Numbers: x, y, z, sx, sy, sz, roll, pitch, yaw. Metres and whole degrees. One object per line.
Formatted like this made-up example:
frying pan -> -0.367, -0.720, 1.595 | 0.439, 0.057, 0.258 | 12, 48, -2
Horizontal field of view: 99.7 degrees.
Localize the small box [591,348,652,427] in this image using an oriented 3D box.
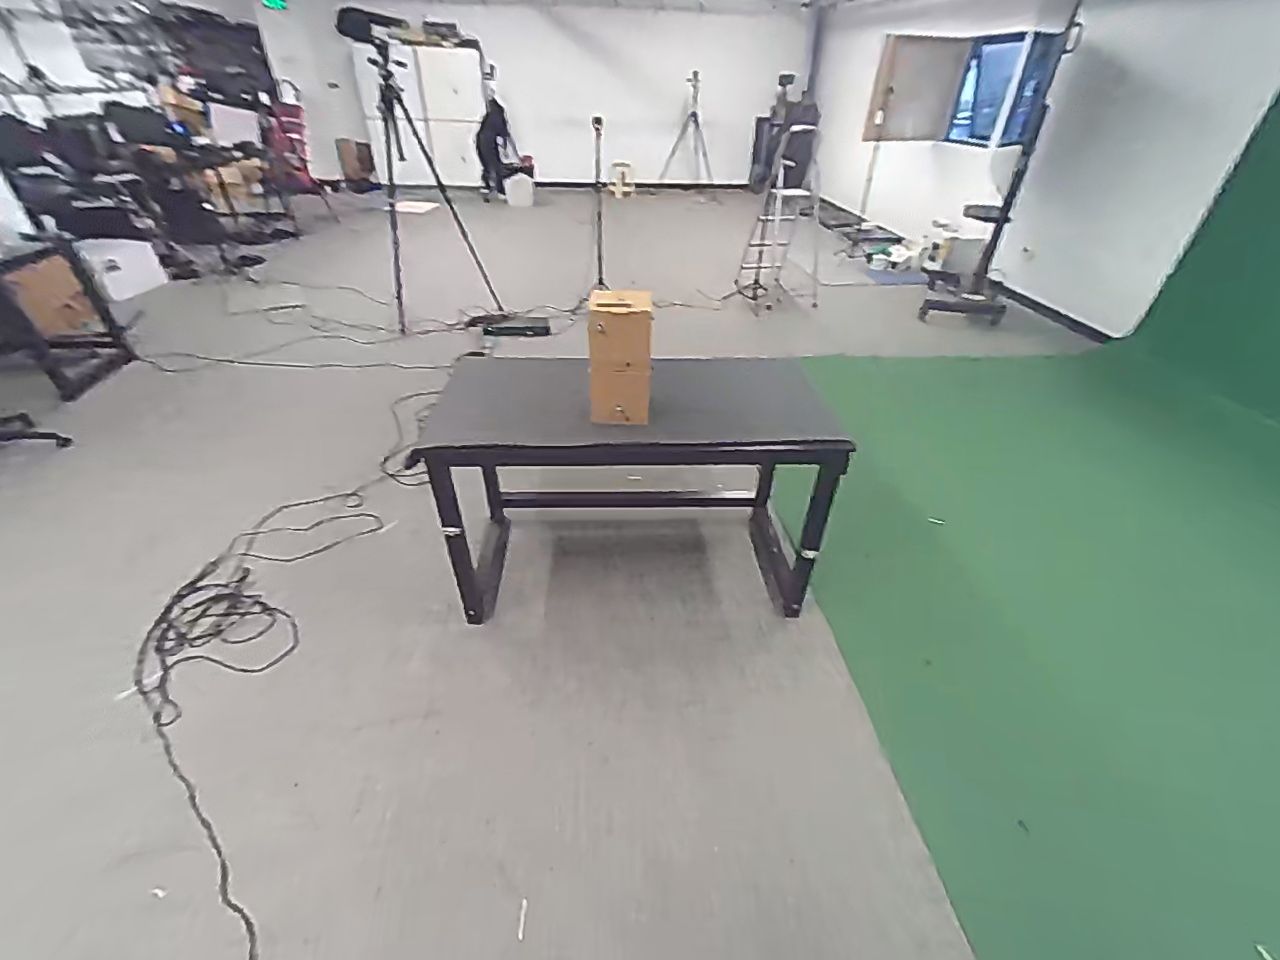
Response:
small box -> -0.051, -0.273, 1.582 | 0.168, 0.176, 0.179 | 2, 35, 1
